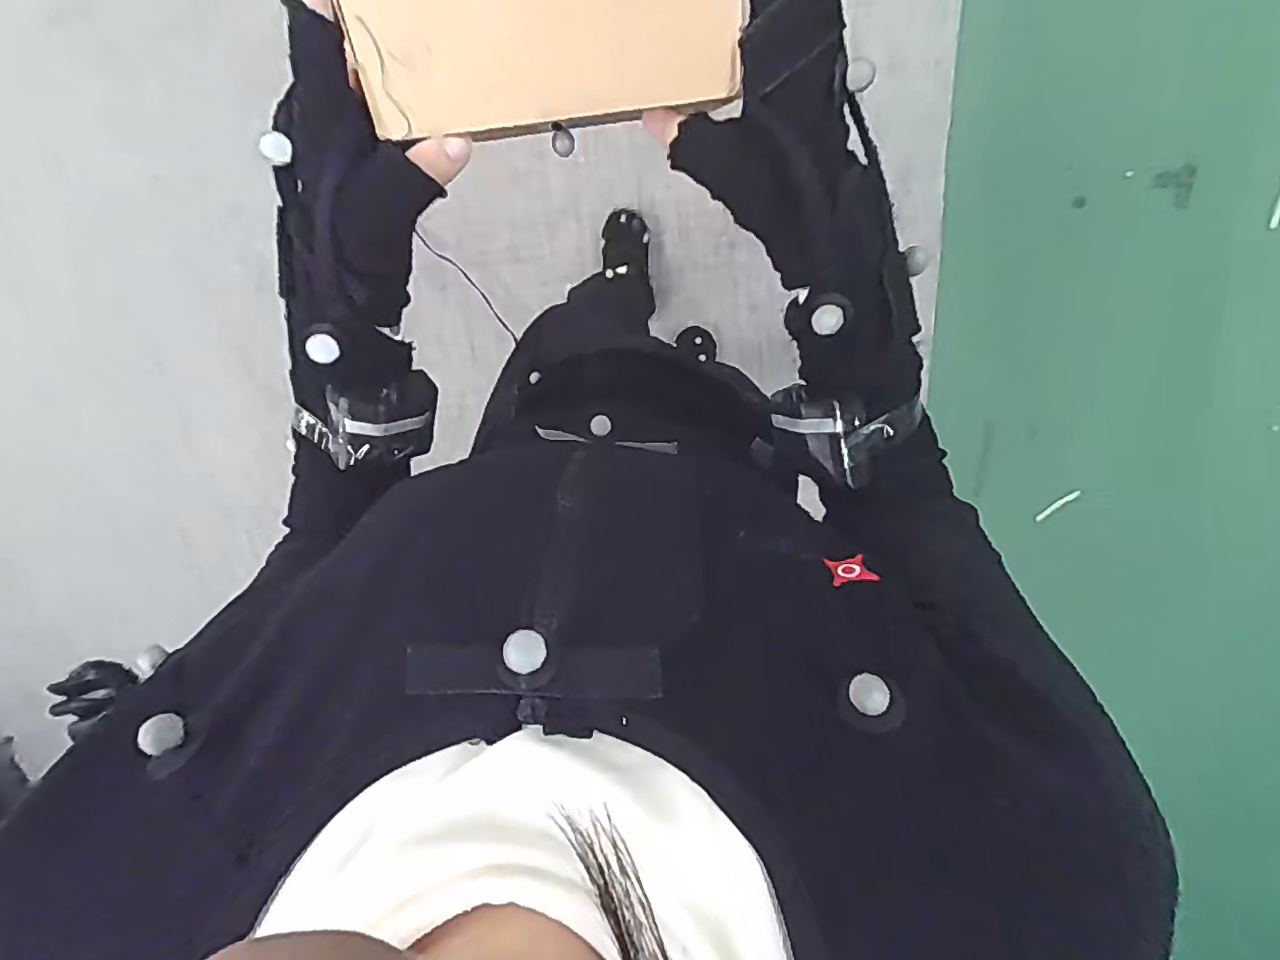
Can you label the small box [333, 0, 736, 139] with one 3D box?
[{"bbox_3d":[-0.047,-0.281,0.278,0.179,0.176,0.168,-5,123,6],"label":"small box"}]
